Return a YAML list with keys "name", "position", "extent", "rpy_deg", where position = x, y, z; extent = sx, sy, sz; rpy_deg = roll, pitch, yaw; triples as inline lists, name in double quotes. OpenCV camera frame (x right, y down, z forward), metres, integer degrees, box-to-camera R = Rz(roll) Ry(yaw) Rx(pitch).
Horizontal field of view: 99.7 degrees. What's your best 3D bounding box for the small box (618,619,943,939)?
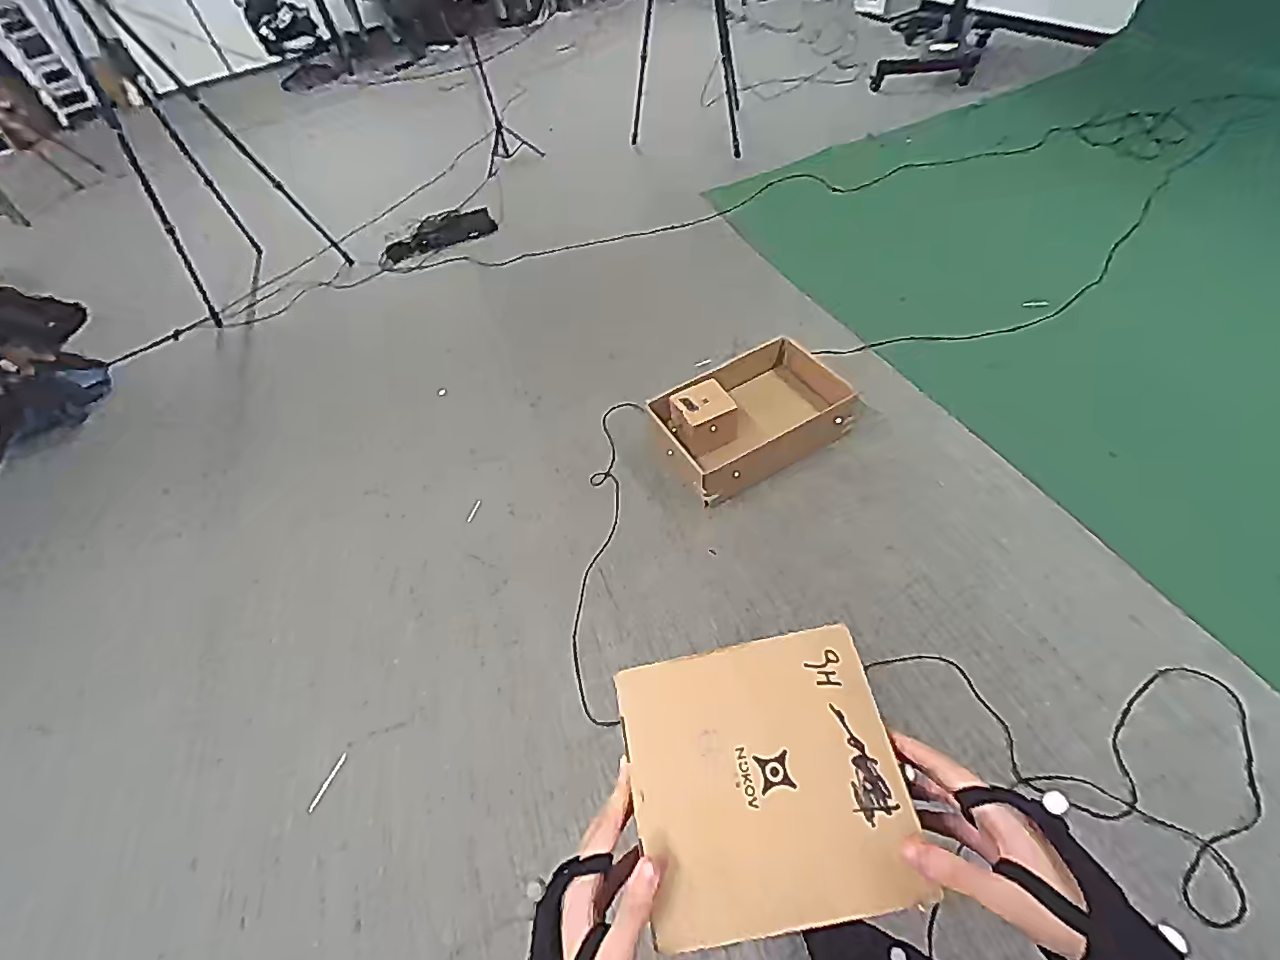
- name: "small box"
  position: [0.091, 0.223, 0.423]
  extent: [0.179, 0.176, 0.168]
  rpy_deg: [-12, 61, 2]
